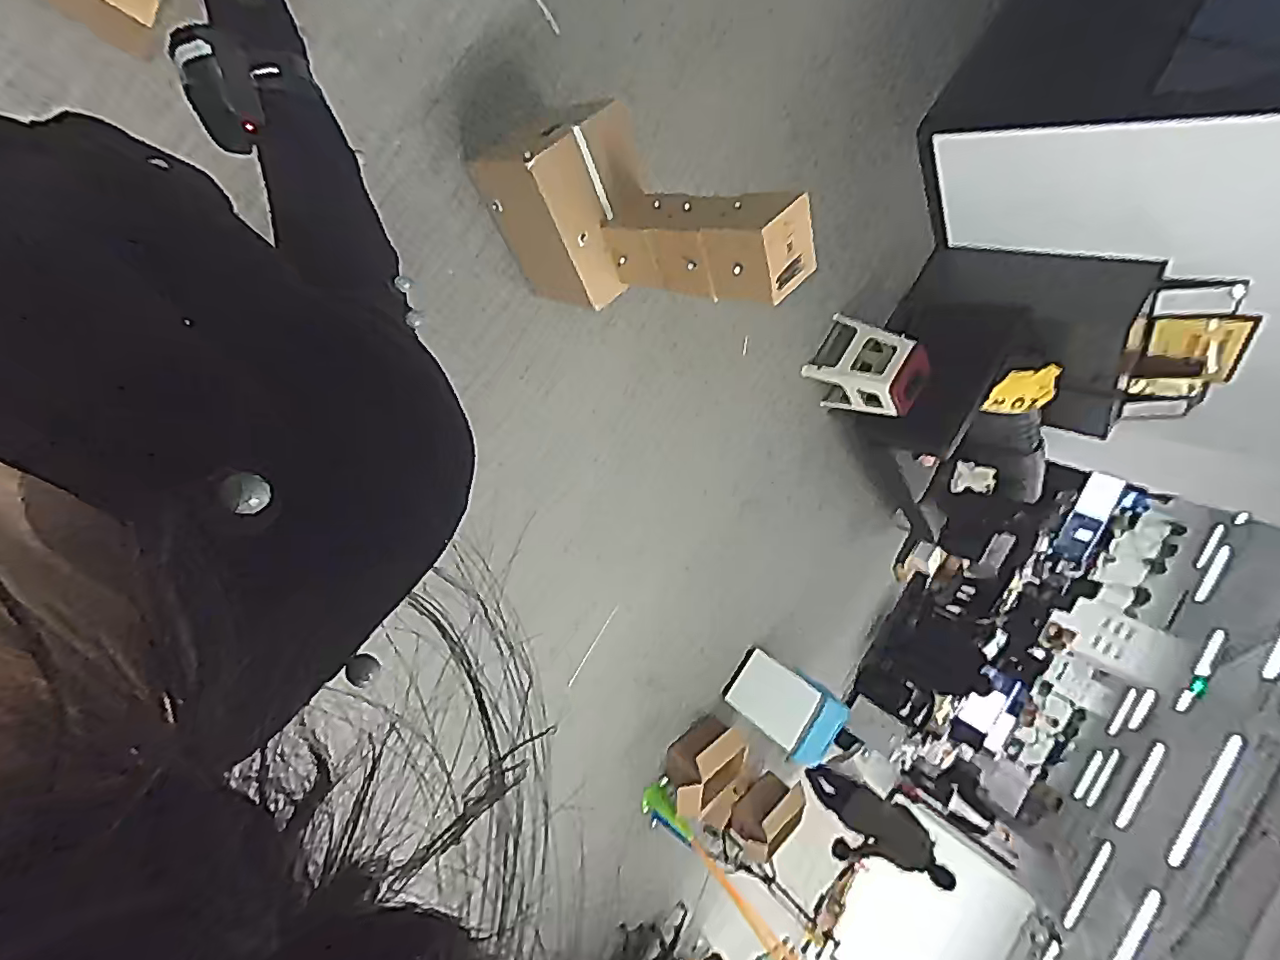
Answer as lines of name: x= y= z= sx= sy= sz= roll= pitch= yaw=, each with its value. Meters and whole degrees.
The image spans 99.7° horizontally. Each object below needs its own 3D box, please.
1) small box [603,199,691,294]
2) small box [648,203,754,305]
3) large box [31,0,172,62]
small box: x=0.035 y=-0.614 z=1.410 sx=0.179 sy=0.176 sz=0.168 roll=-46 pitch=136 yaw=-19
small box: x=0.148 y=-0.552 z=1.311 sx=0.168 sy=0.176 sz=0.179 roll=-45 pitch=135 yaw=-21
large box: x=-0.874 y=-0.875 z=0.726 sx=0.408 sy=0.320 sz=0.320 roll=17 pitch=98 yaw=-47
